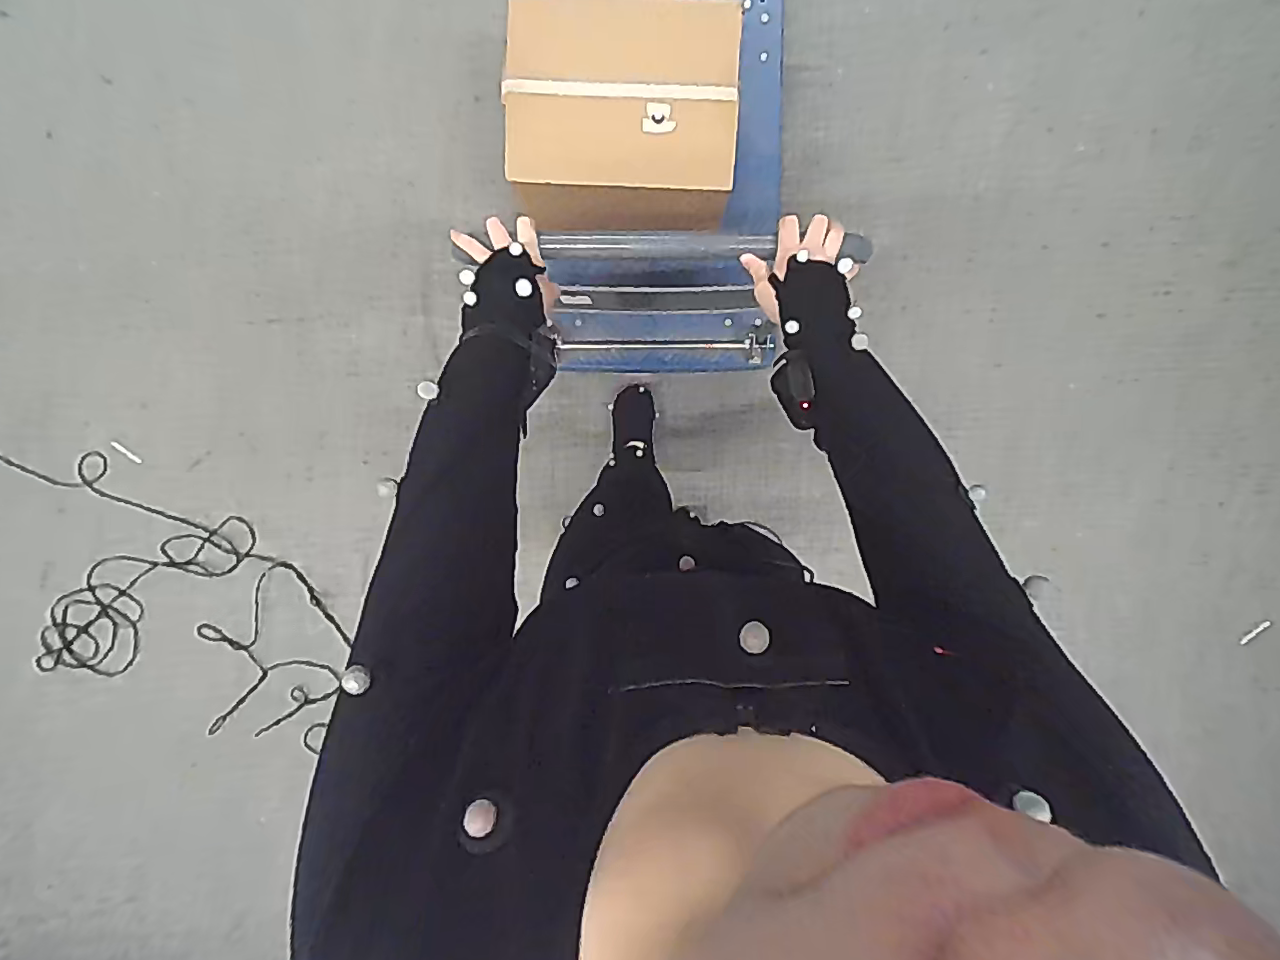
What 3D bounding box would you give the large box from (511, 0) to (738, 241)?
[{"bbox_3d":[-0.032,-0.700,1.105,0.408,0.320,0.320,2,96,-1],"label":"large box"}]
